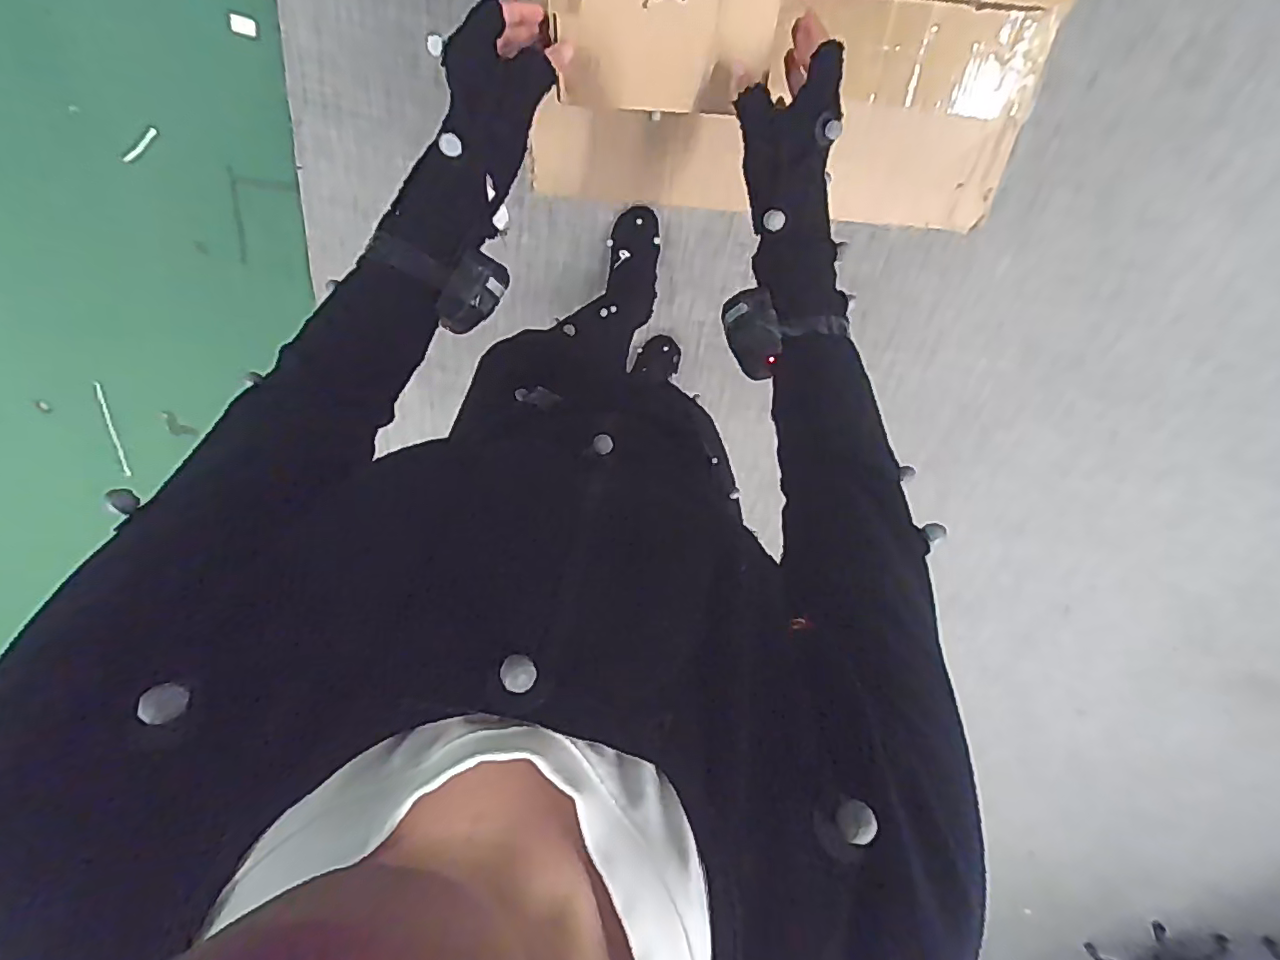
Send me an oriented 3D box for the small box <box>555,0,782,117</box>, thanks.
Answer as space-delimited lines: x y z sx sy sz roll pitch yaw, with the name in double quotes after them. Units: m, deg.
0.026 -0.427 0.463 0.179 0.176 0.168 3 134 1 "small box"
